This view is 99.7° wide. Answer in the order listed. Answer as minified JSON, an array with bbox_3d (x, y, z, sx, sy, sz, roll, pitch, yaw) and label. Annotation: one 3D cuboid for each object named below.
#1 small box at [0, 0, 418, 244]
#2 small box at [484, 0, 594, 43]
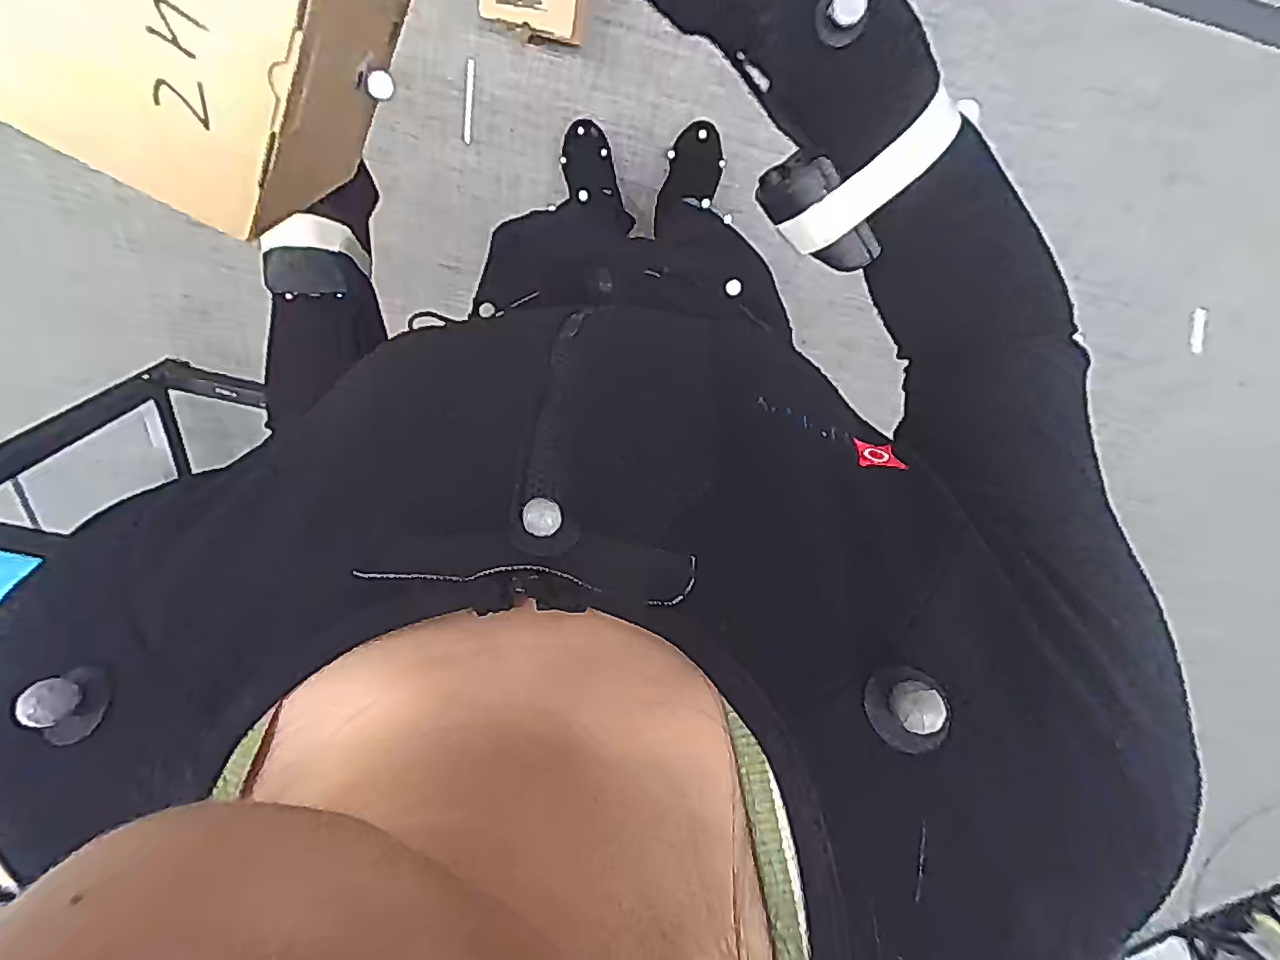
[{"bbox_3d":[-0.237,-0.262,0.272,0.179,0.176,0.168,28,123,-28],"label":"small box"},{"bbox_3d":[-0.169,-0.908,0.961,0.168,0.176,0.179,12,125,-4],"label":"small box"}]
